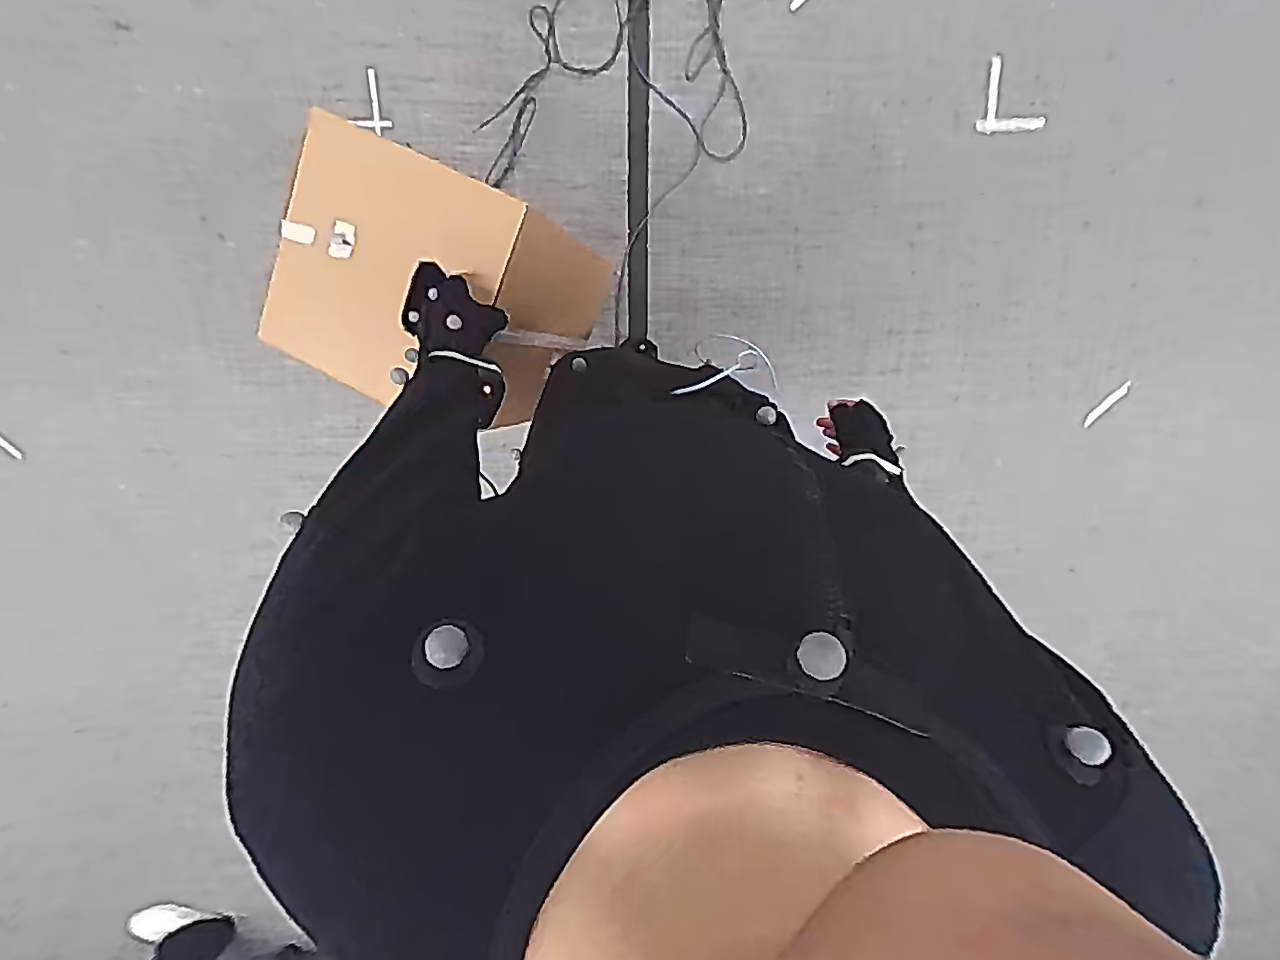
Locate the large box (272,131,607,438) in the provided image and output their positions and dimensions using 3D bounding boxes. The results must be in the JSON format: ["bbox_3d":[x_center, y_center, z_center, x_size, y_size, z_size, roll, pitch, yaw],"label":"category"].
[{"bbox_3d":[-0.299,-0.297,0.897,0.320,0.408,0.320,27,106,6],"label":"large box"}]
